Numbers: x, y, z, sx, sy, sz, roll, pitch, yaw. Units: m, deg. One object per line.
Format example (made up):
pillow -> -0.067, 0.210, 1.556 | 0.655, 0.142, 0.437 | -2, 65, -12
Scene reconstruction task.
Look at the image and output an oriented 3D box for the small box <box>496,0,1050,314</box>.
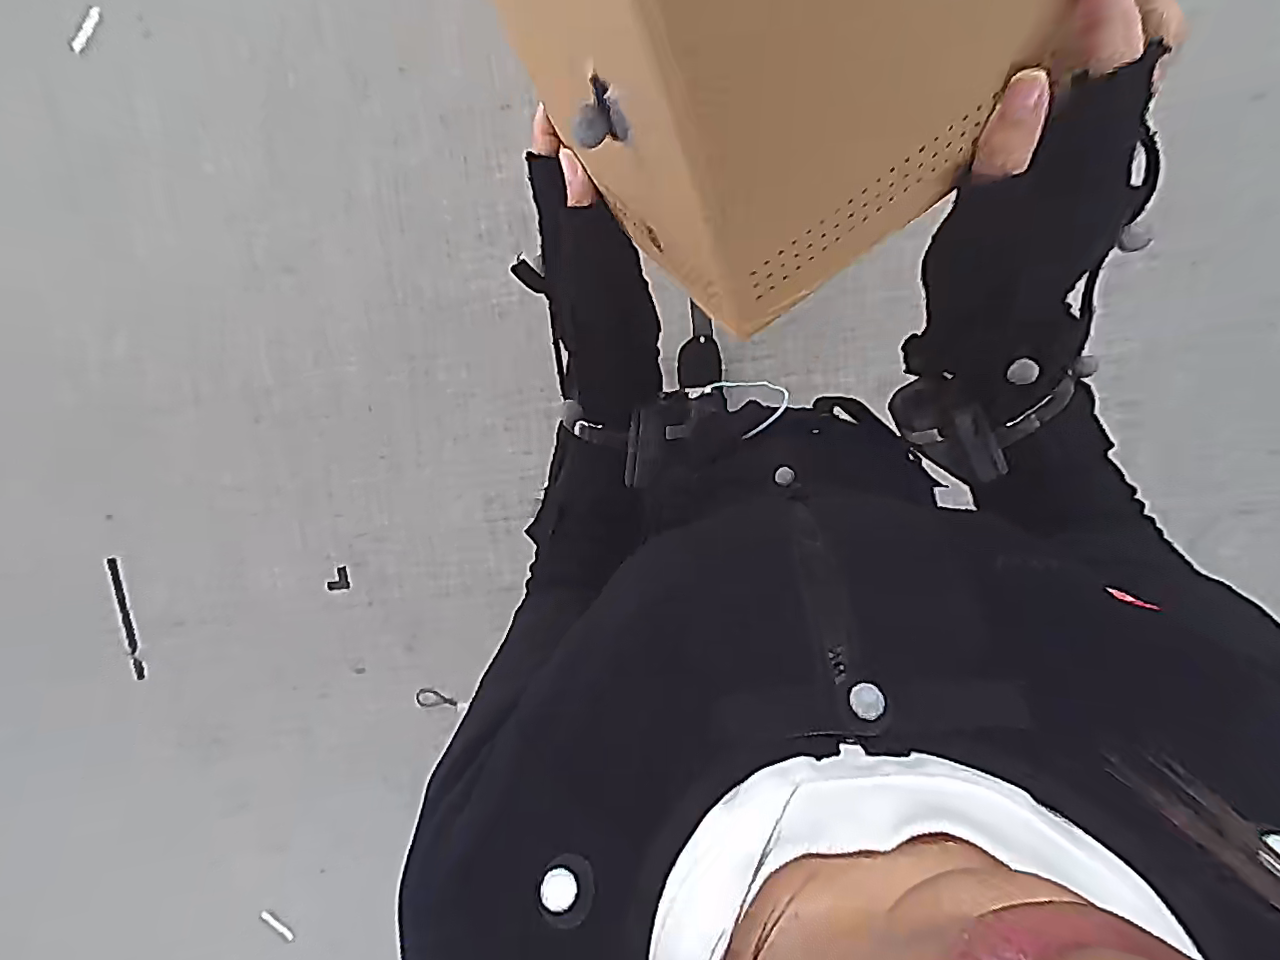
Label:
small box -> 0.044, -0.206, 0.223 | 0.179, 0.176, 0.168 | -34, 56, 4
